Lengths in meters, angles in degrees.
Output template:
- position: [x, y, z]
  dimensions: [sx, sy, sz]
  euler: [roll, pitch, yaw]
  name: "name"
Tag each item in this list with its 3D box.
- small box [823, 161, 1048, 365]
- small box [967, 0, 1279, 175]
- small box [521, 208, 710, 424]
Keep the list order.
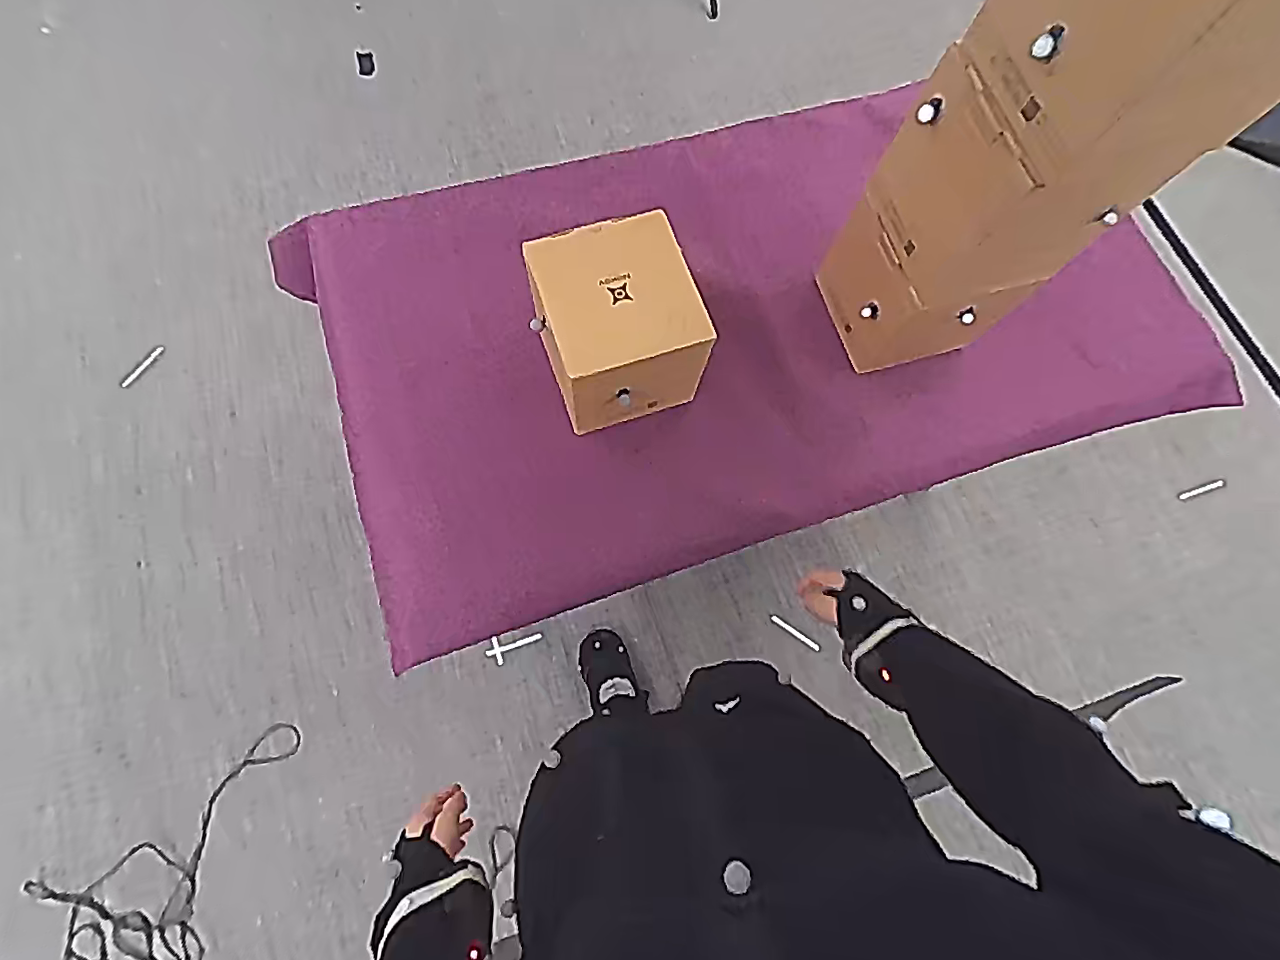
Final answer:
- position: [0.361, -0.271, 0.706]
  dimensions: [0.179, 0.176, 0.168]
  euler: [-15, 76, -8]
  name: "small box"
- position: [0.390, -0.360, 0.390]
  dimensions: [0.179, 0.176, 0.168]
  euler: [-16, 75, -7]
  name: "small box"
- position: [-0.030, -0.184, 0.659]
  dimensions: [0.168, 0.176, 0.179]
  euler: [-18, 75, -8]
  name: "small box"
